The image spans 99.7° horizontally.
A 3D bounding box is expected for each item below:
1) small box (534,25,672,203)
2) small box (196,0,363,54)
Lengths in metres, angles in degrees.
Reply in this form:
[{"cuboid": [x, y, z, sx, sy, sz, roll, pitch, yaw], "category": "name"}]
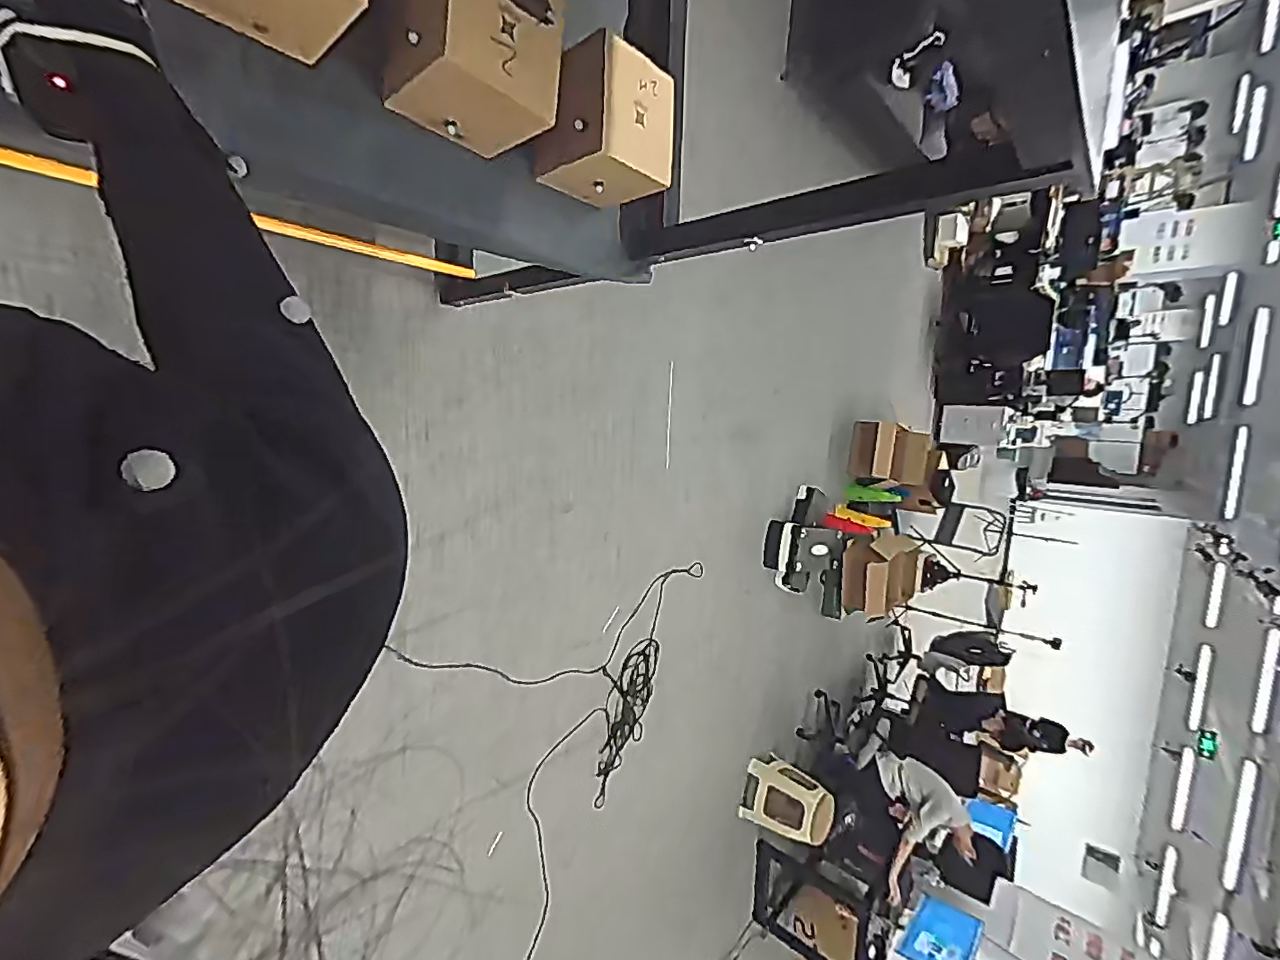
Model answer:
[{"cuboid": [-0.065, -0.595, 0.912, 0.168, 0.176, 0.179, -5, 100, -49], "category": "small box"}, {"cuboid": [-0.392, -0.585, 0.543, 0.168, 0.176, 0.179, -4, 99, -49], "category": "small box"}]
